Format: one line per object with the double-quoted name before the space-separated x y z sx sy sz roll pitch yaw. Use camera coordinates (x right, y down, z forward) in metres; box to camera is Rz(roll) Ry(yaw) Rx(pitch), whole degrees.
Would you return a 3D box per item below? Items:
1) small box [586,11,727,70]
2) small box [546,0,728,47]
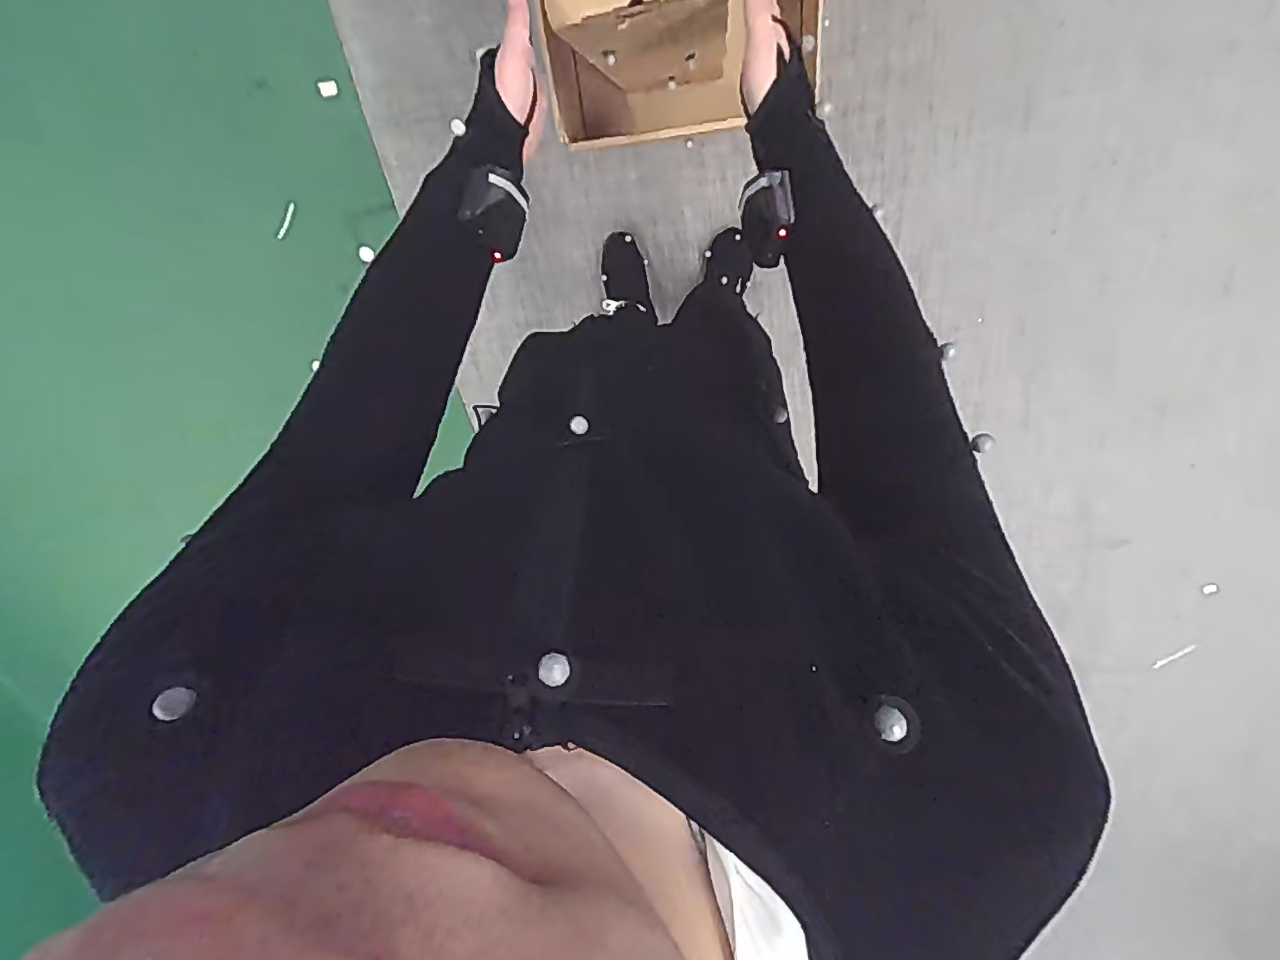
"small box" 0.020 -0.614 0.648 0.168 0.176 0.179 -2 119 9
"small box" -0.003 -0.534 0.506 0.168 0.176 0.179 -3 118 9
